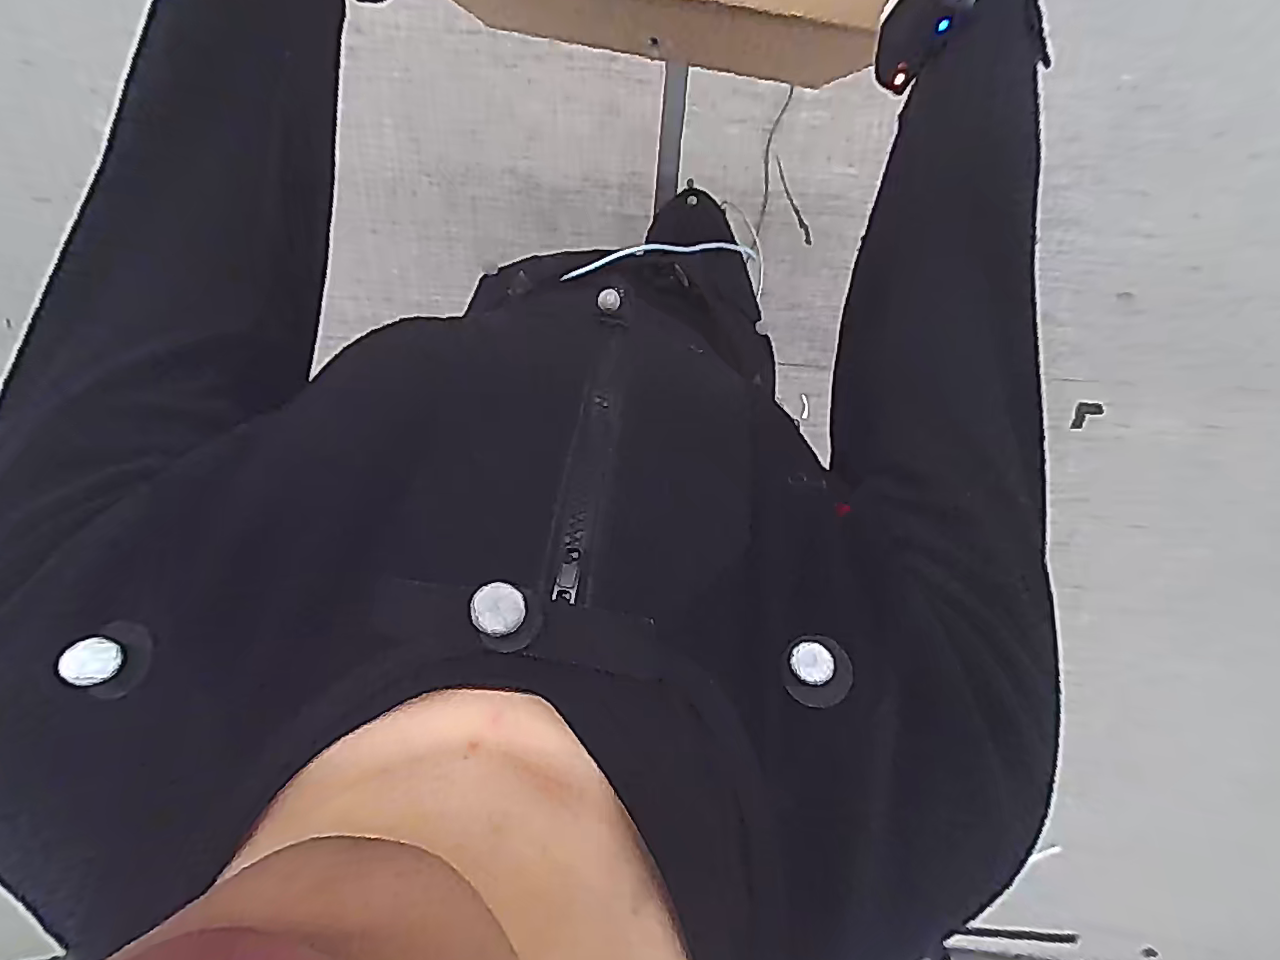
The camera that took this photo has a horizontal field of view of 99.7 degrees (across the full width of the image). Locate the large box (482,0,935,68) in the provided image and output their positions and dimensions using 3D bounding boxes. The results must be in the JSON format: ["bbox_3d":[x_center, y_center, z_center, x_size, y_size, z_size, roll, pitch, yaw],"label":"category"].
[{"bbox_3d":[0.042,-0.568,0.438,0.408,0.320,0.320,8,120,-3],"label":"large box"}]
